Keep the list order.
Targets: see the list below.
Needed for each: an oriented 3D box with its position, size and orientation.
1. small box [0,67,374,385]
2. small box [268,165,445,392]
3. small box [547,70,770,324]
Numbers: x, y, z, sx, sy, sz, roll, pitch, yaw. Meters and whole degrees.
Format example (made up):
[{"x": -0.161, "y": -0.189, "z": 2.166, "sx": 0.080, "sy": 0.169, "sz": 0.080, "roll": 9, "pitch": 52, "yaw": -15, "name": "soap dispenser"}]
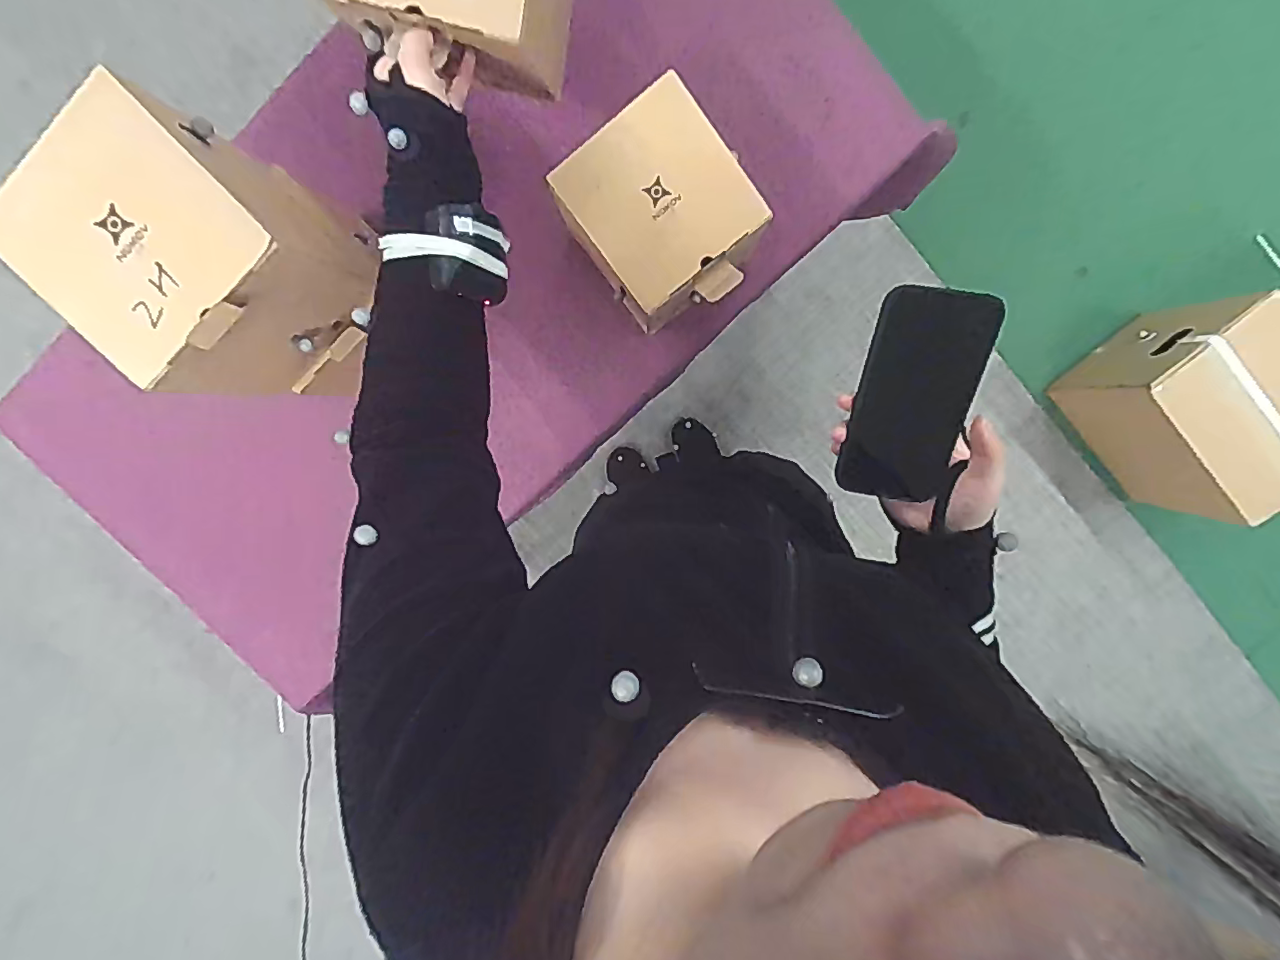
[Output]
[{"x": -0.392, "y": -0.201, "z": 0.492, "sx": 0.168, "sy": 0.176, "sz": 0.179, "roll": -42, "pitch": 95, "yaw": 7, "name": "small box"}, {"x": -0.374, "y": -0.225, "z": 0.655, "sx": 0.168, "sy": 0.176, "sz": 0.179, "roll": -42, "pitch": 95, "yaw": 7, "name": "small box"}, {"x": 0.020, "y": -0.305, "z": 0.631, "sx": 0.168, "sy": 0.176, "sz": 0.179, "roll": -37, "pitch": 97, "yaw": 7, "name": "small box"}]
